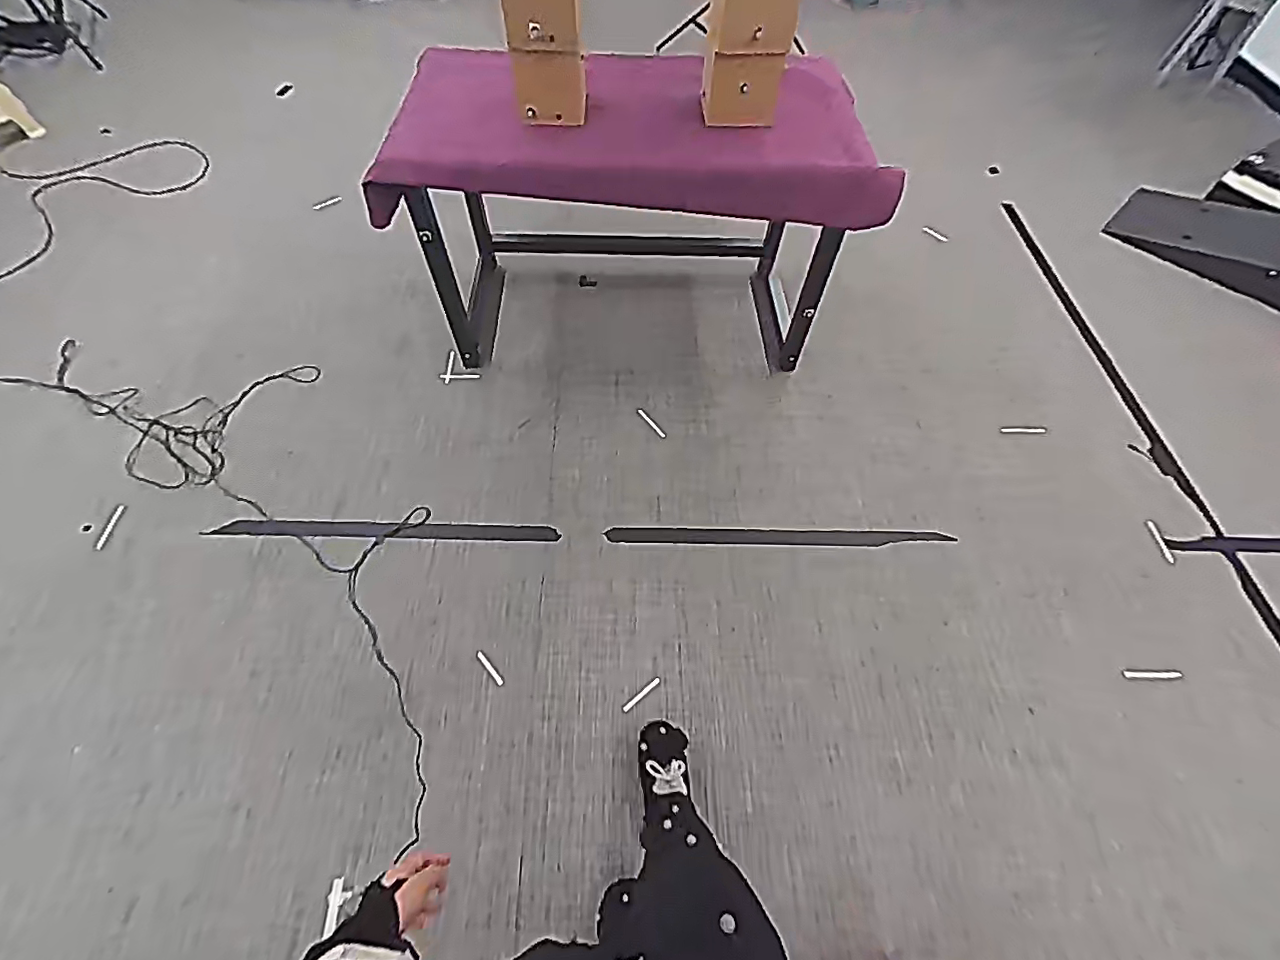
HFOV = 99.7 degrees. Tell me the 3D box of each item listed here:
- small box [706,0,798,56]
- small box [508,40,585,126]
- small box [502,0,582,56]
[{"bbox_3d":[0.260,-1.113,1.250,0.179,0.176,0.168,-4,58,-4],"label":"small box"},{"bbox_3d":[-0.230,-1.032,1.379,0.168,0.176,0.179,0,58,-2],"label":"small box"},{"bbox_3d":[-0.223,-1.107,1.234,0.168,0.176,0.179,-1,59,-1],"label":"small box"}]
